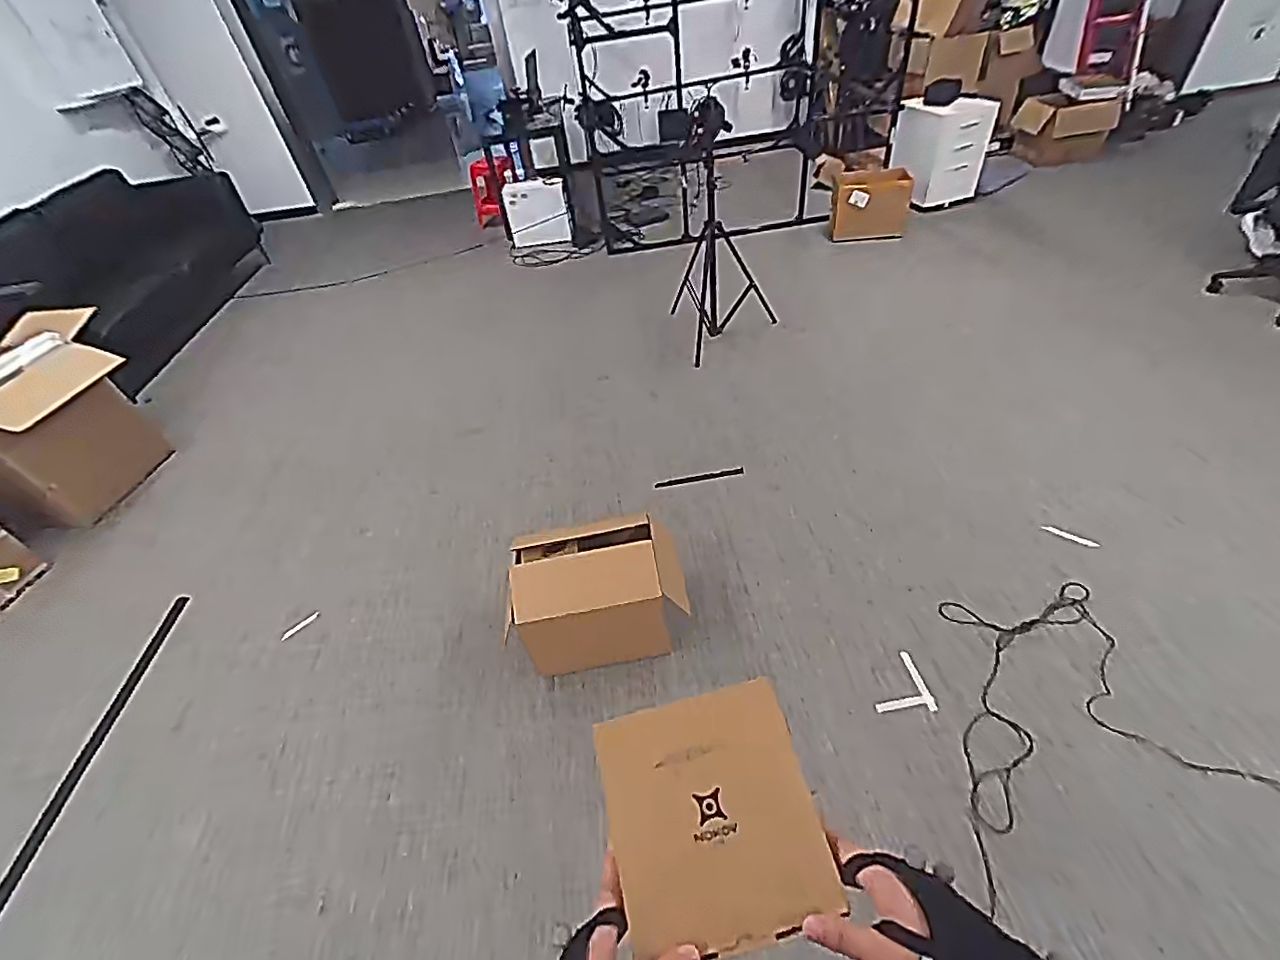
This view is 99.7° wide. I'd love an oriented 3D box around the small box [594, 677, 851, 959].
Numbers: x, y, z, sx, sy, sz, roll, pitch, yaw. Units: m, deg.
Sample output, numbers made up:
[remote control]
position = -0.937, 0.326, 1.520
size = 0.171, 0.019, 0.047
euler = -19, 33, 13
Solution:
[small box]
position = 0.062, 0.304, 0.498
size = 0.168, 0.176, 0.179
euler = -14, 59, -5
